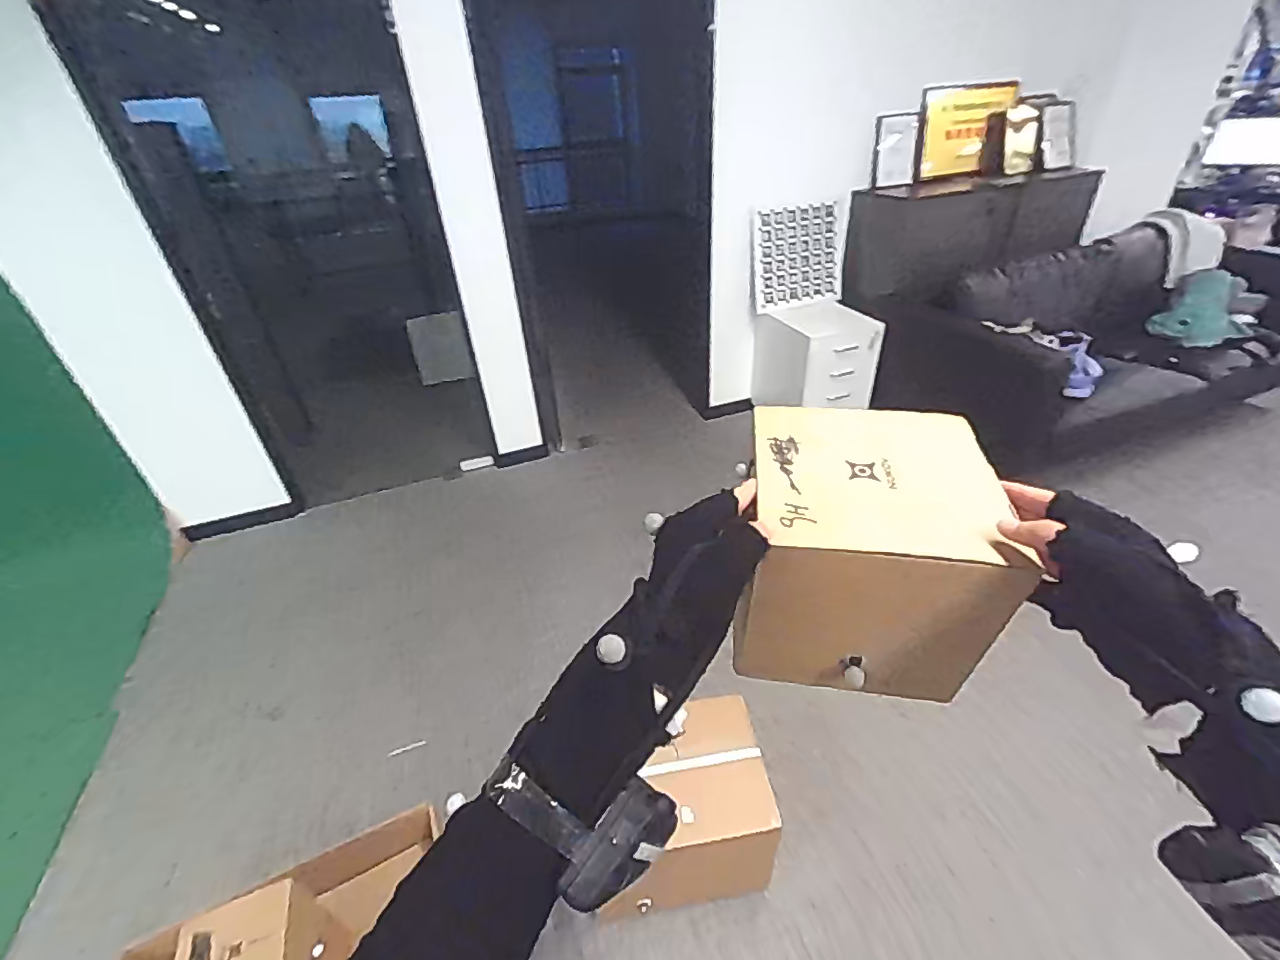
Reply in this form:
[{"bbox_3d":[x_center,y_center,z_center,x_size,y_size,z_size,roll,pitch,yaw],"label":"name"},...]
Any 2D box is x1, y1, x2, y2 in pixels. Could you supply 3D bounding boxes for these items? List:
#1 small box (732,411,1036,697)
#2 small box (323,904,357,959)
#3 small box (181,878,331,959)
[{"bbox_3d":[0.177,0.062,0.458,0.179,0.176,0.168,5,41,7],"label":"small box"},{"bbox_3d":[-0.676,0.995,1.060,0.179,0.176,0.168,-16,37,-20],"label":"small box"},{"bbox_3d":[-0.678,0.865,0.958,0.179,0.176,0.168,-15,36,-17],"label":"small box"}]
